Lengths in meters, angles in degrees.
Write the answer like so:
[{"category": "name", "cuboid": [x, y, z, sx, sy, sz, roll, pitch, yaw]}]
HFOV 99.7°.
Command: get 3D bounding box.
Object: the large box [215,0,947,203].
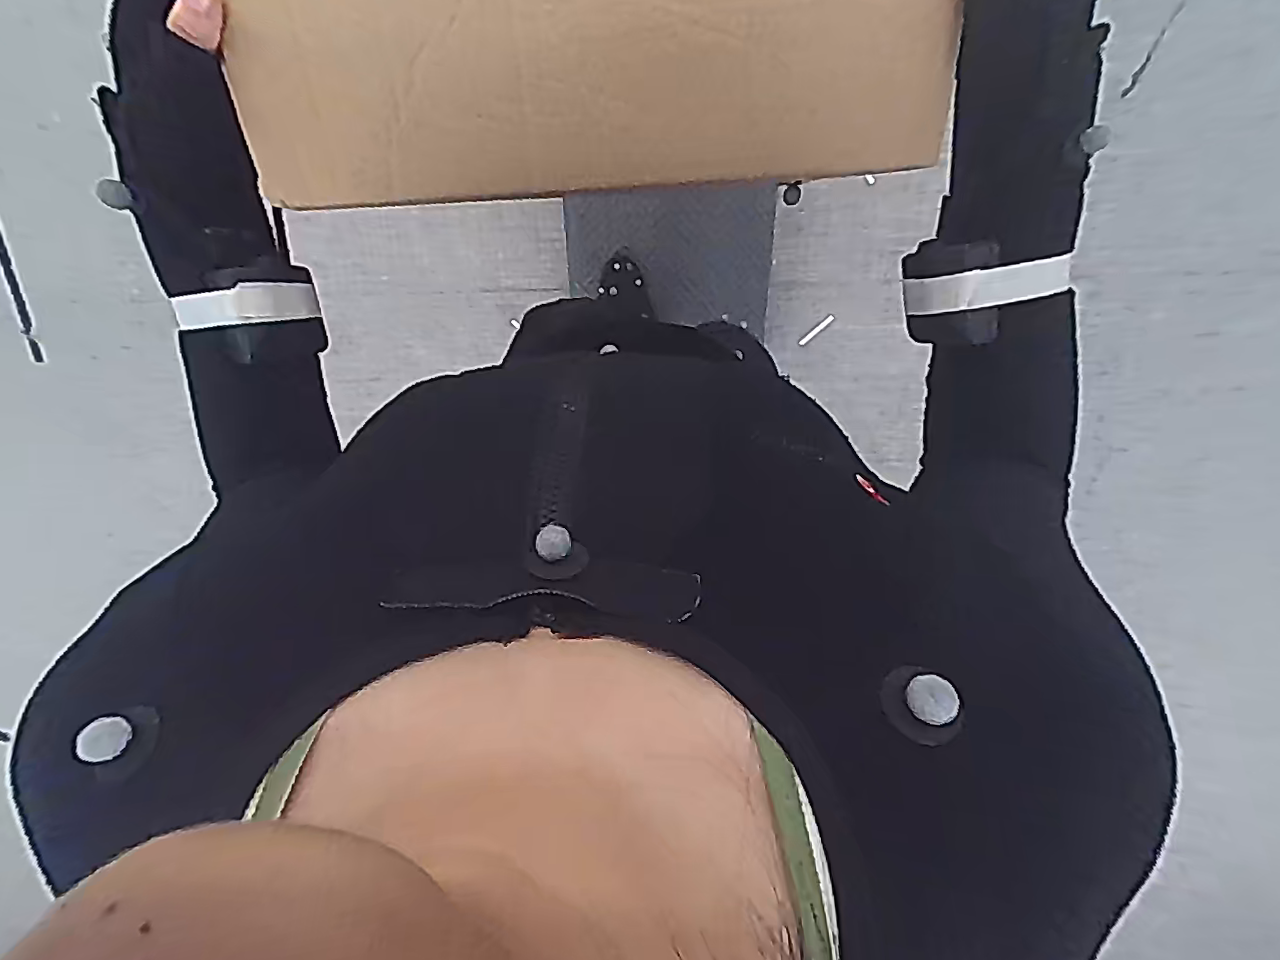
[{"category": "large box", "cuboid": [-0.033, -0.392, 0.391, 0.408, 0.320, 0.320, -3, 118, 1]}]
